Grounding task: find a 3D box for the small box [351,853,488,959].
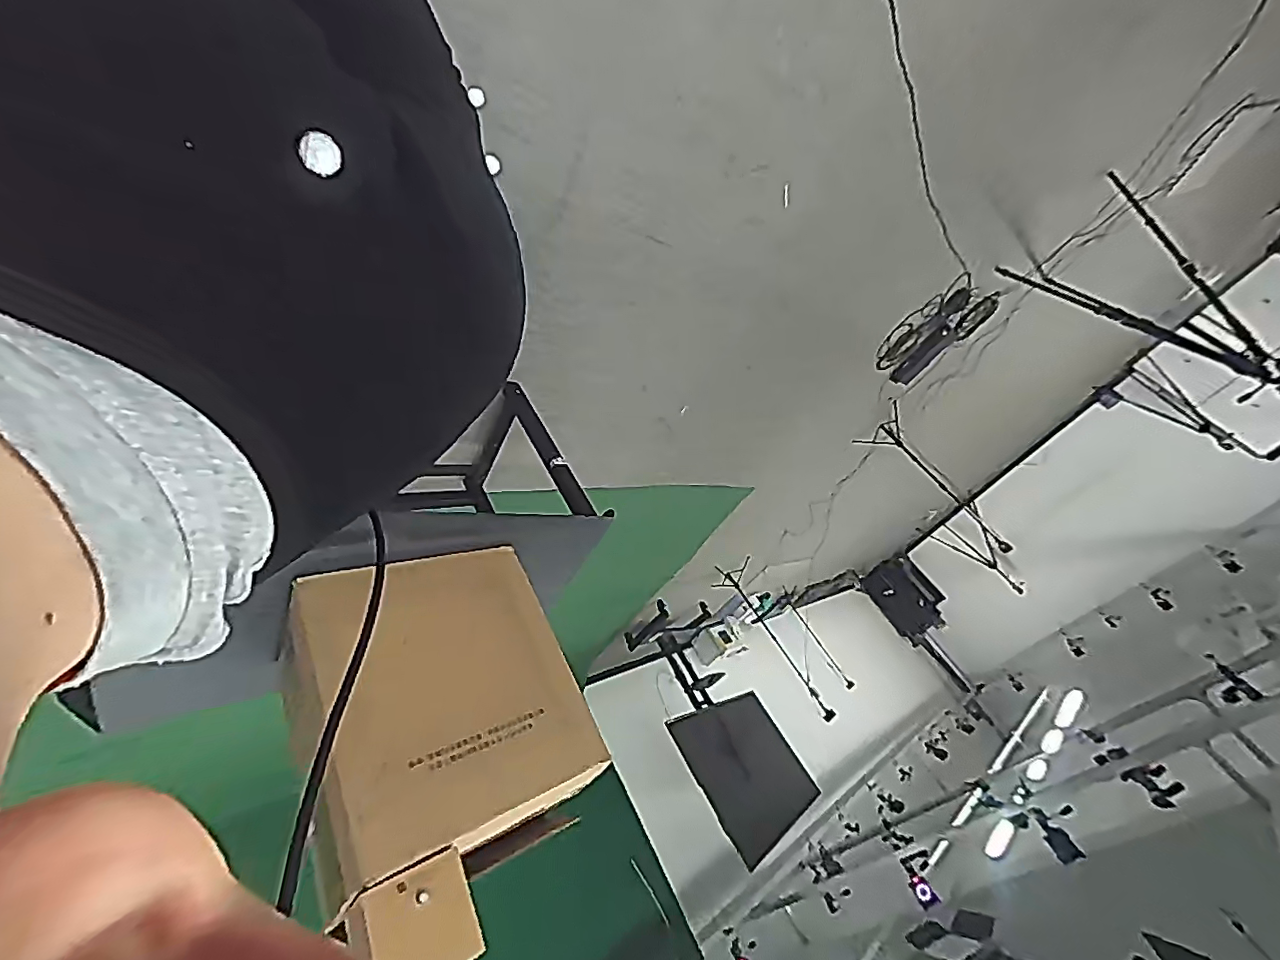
[{"bbox_3d":[-0.392,0.796,0.947,0.168,0.176,0.179,-4,138,-41],"label":"small box"}]
